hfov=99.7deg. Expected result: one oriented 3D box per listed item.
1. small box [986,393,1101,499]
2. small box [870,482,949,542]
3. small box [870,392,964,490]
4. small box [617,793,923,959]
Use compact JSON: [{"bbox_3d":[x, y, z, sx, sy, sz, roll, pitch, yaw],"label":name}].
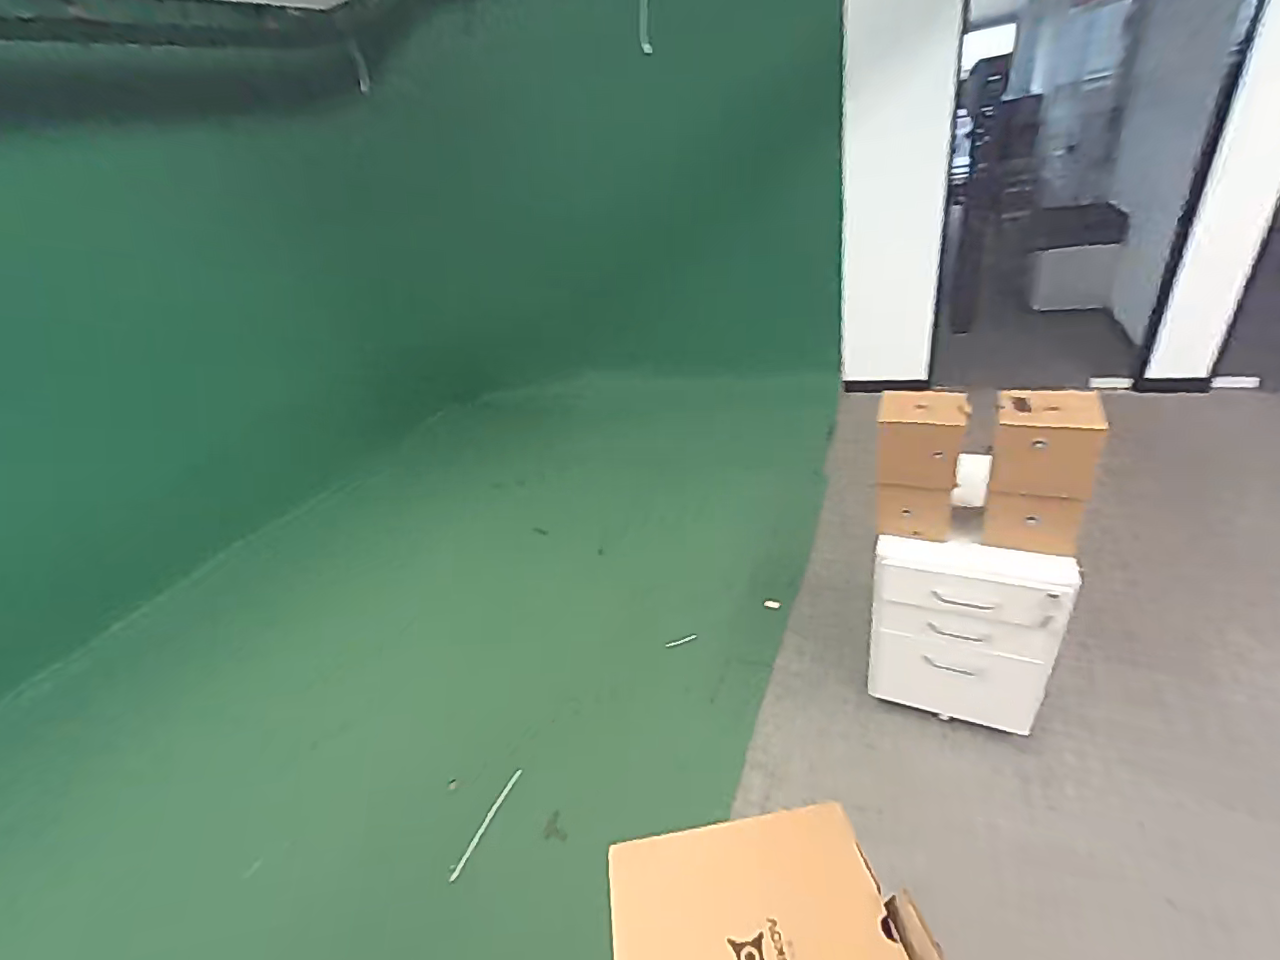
[{"bbox_3d":[0.859,-0.076,1.168,0.179,0.176,0.168,7,36,30],"label":"small box"},{"bbox_3d":[0.682,0.034,1.366,0.168,0.176,0.179,8,37,27],"label":"small box"},{"bbox_3d":[0.648,-0.092,1.269,0.179,0.176,0.168,6,35,27],"label":"small box"},{"bbox_3d":[0.086,0.351,0.359,0.179,0.176,0.168,-9,24,-2],"label":"small box"}]
